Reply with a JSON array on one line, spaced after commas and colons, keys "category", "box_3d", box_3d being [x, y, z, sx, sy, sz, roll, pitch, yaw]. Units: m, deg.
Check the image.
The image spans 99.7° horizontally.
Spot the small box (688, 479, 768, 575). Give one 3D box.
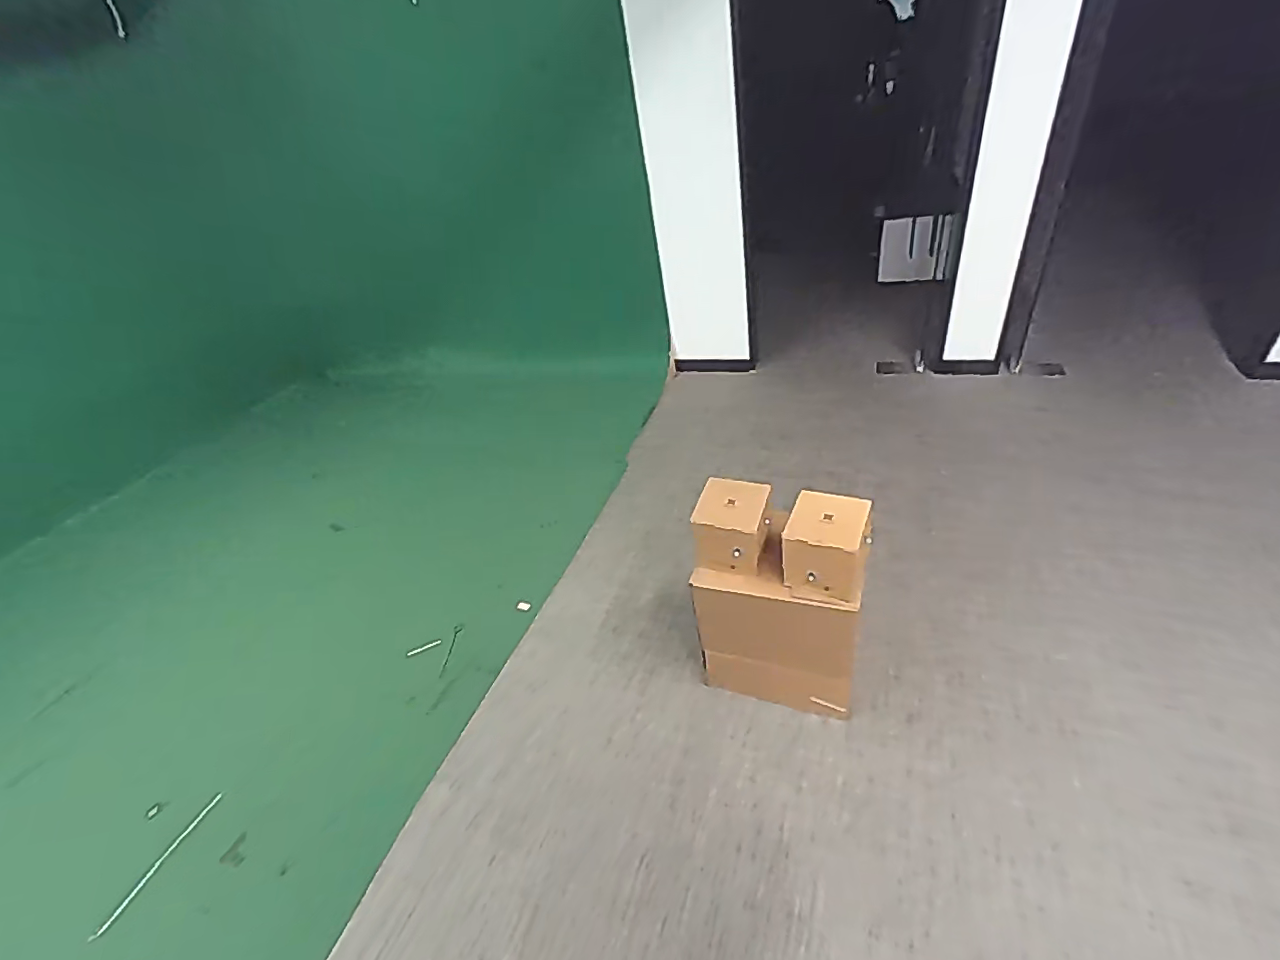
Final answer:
[{"category": "small box", "box_3d": [0.236, 0.122, 1.400, 0.168, 0.176, 0.179, 8, 43, 22]}]

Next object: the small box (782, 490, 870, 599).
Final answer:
[{"category": "small box", "box_3d": [0.445, 0.152, 1.298, 0.168, 0.176, 0.179, 9, 43, 28]}]
